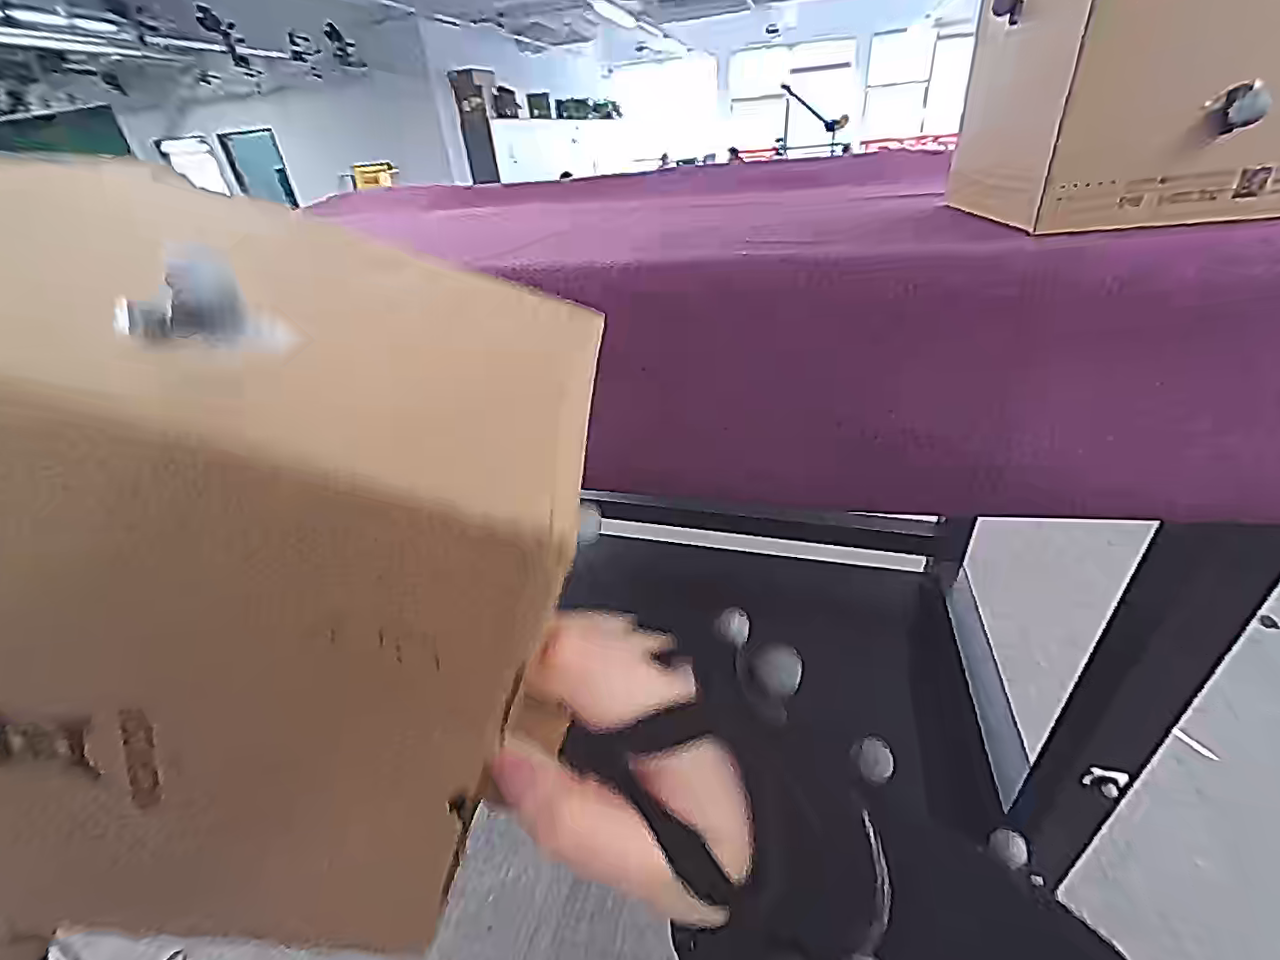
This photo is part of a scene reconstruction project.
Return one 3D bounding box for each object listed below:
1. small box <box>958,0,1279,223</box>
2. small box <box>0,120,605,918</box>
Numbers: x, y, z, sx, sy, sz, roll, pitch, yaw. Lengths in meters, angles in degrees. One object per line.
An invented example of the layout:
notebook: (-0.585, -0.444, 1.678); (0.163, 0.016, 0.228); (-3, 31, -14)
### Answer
small box: (0.328, -0.265, 0.342); (0.168, 0.176, 0.179); (0, 31, 11)
small box: (-0.117, 0.000, 0.179); (0.179, 0.168, 0.176); (18, 27, -10)
